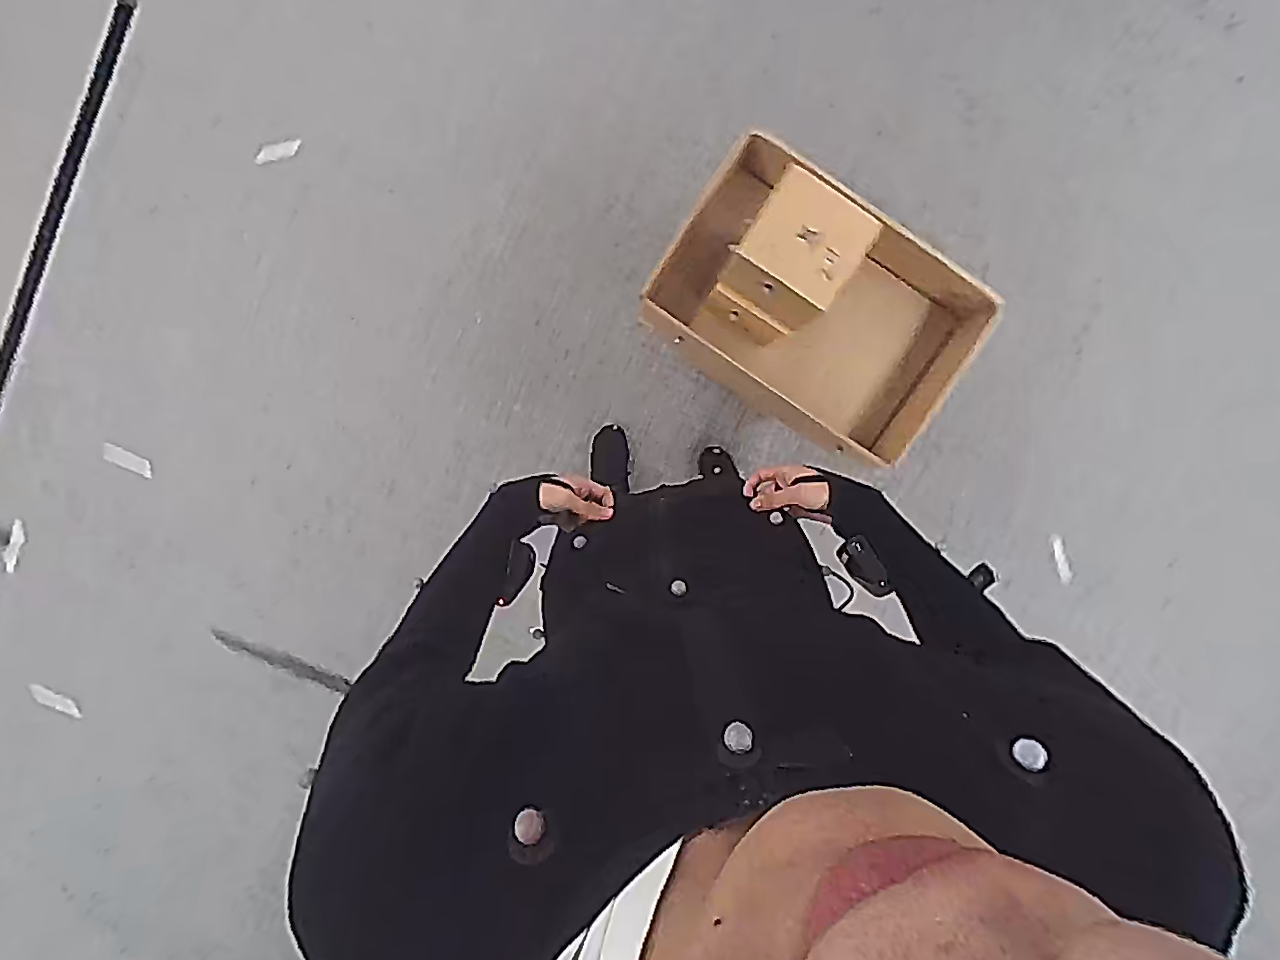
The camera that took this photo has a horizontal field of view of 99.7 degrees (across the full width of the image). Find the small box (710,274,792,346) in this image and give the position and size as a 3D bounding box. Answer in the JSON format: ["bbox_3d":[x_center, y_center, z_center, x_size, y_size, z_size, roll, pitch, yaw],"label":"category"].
[{"bbox_3d":[0.255,-0.392,1.091,0.168,0.176,0.179,32,93,-4],"label":"small box"}]

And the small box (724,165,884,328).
[{"bbox_3d":[0.266,-0.383,0.926,0.179,0.176,0.168,34,94,-4],"label":"small box"}]
